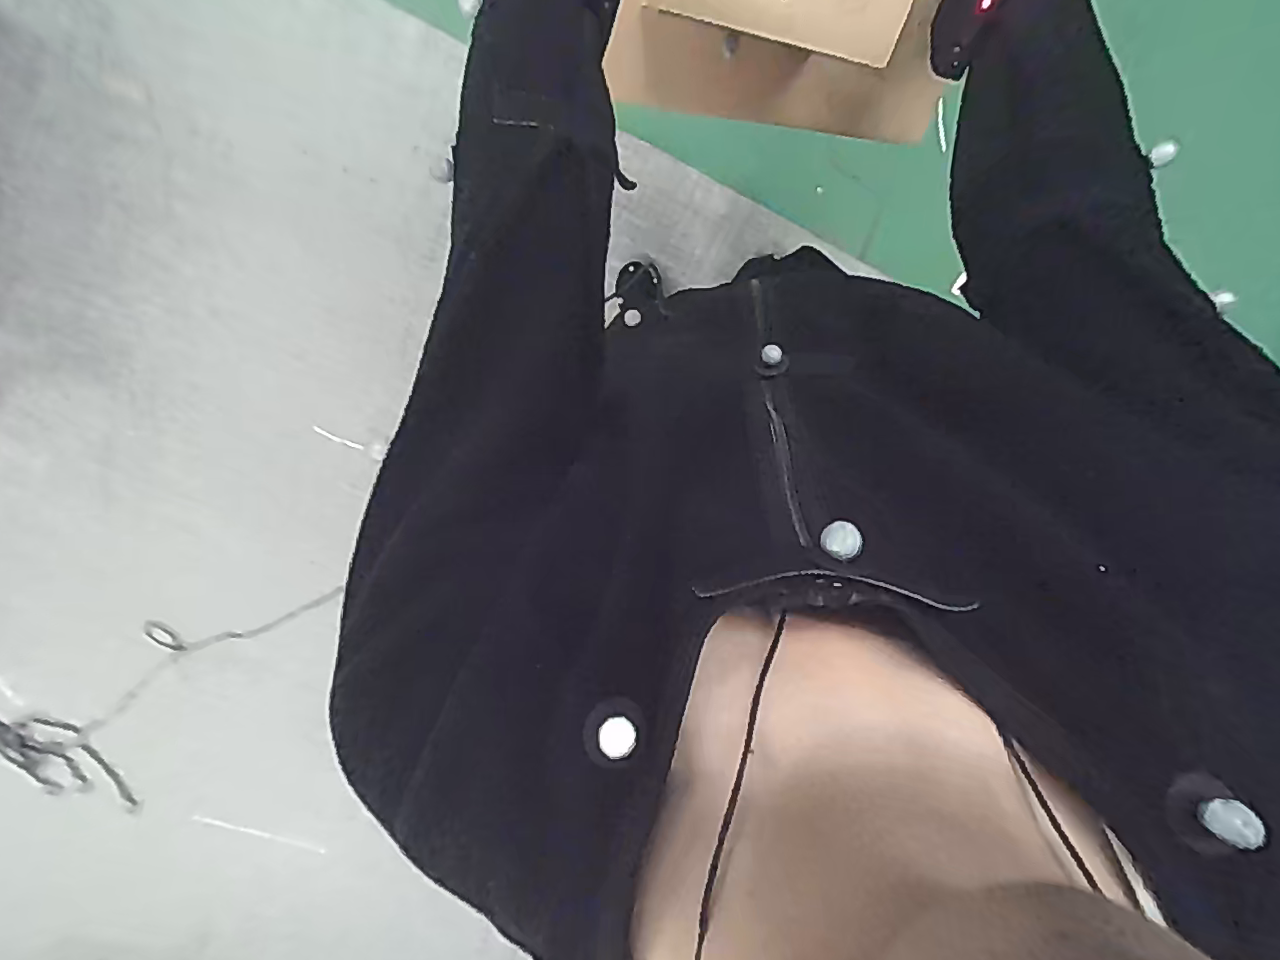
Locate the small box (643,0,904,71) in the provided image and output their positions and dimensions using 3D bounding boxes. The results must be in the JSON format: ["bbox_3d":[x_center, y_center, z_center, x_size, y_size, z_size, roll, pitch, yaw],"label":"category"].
[{"bbox_3d":[0.094,-0.407,0.363,0.168,0.176,0.179,6,131,-9],"label":"small box"}]

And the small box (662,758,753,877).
[{"bbox_3d":[0.169,0.862,1.391,0.168,0.176,0.179,-29,107,8],"label":"small box"}]
